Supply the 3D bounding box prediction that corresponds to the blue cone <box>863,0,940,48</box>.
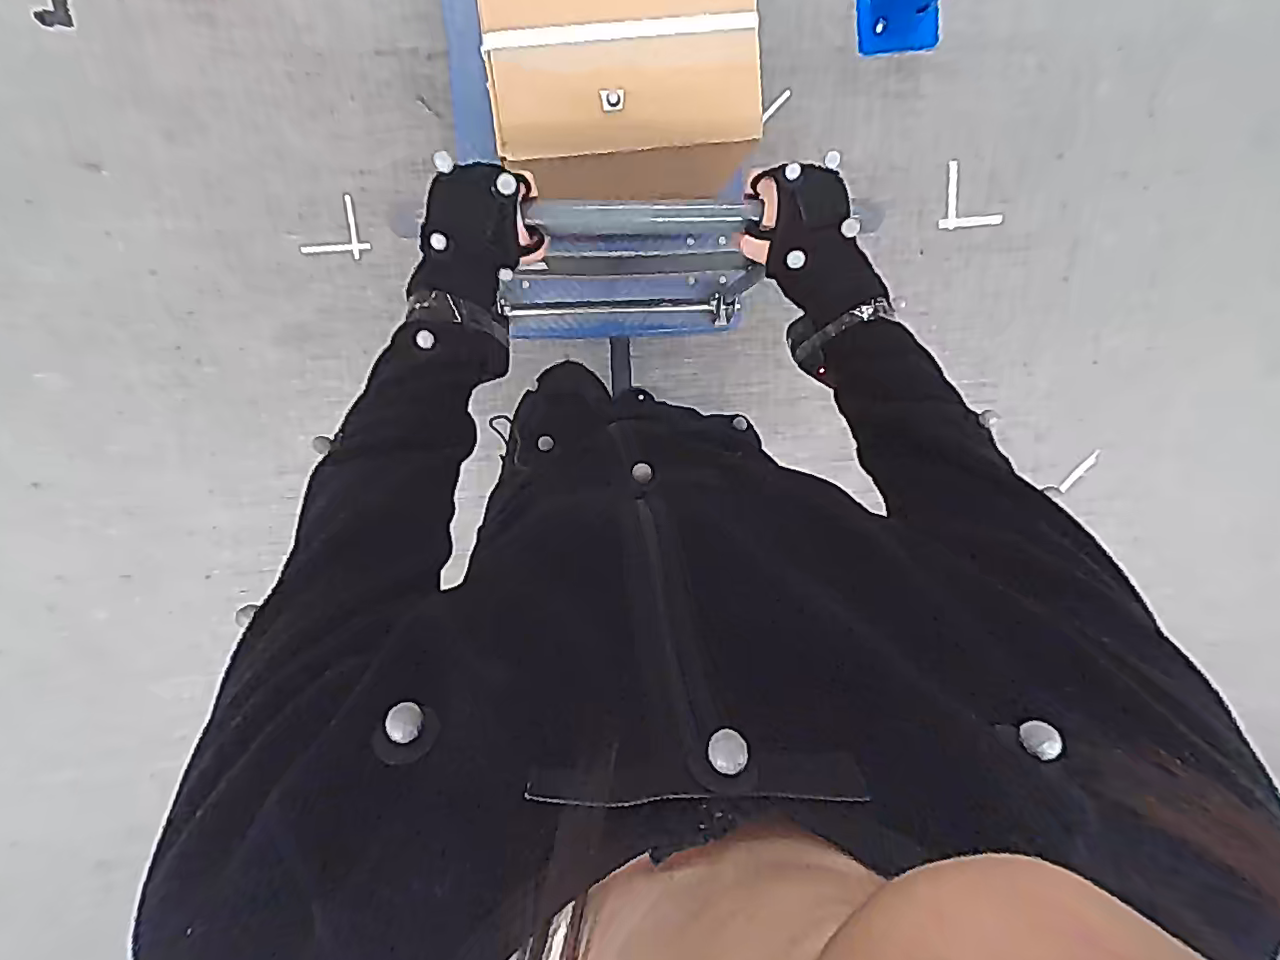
[{"bbox_3d":[0.624,-1.084,1.097,0.193,0.380,0.192,-8,102,-5],"label":"blue cone"}]
